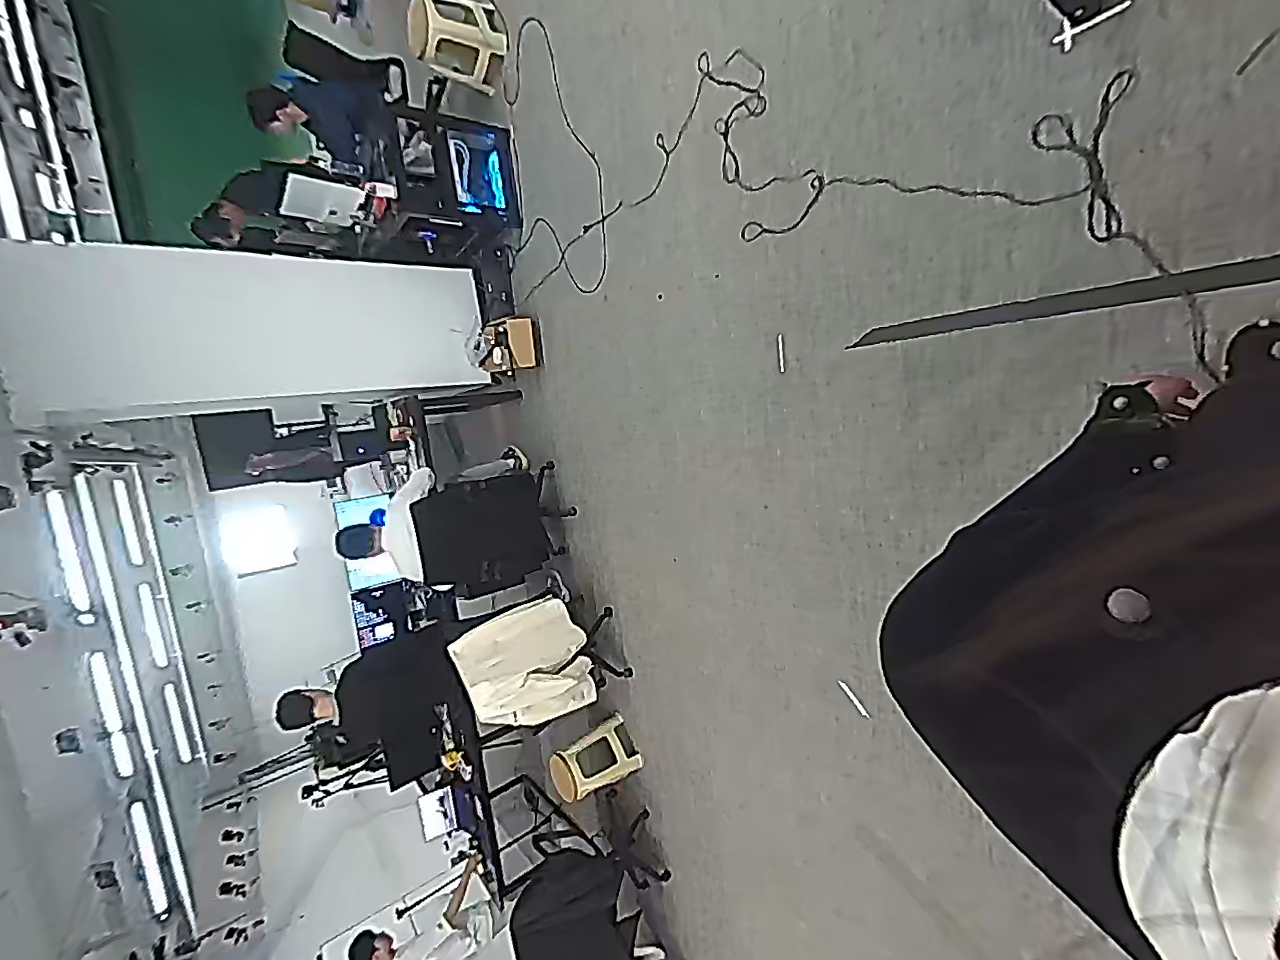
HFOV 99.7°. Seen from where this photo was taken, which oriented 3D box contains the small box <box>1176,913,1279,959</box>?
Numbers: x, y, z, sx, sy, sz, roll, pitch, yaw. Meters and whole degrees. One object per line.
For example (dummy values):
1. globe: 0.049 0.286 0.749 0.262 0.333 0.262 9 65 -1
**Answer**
1. small box: 0.881 0.785 0.764 0.168 0.176 0.179 -2 99 52
